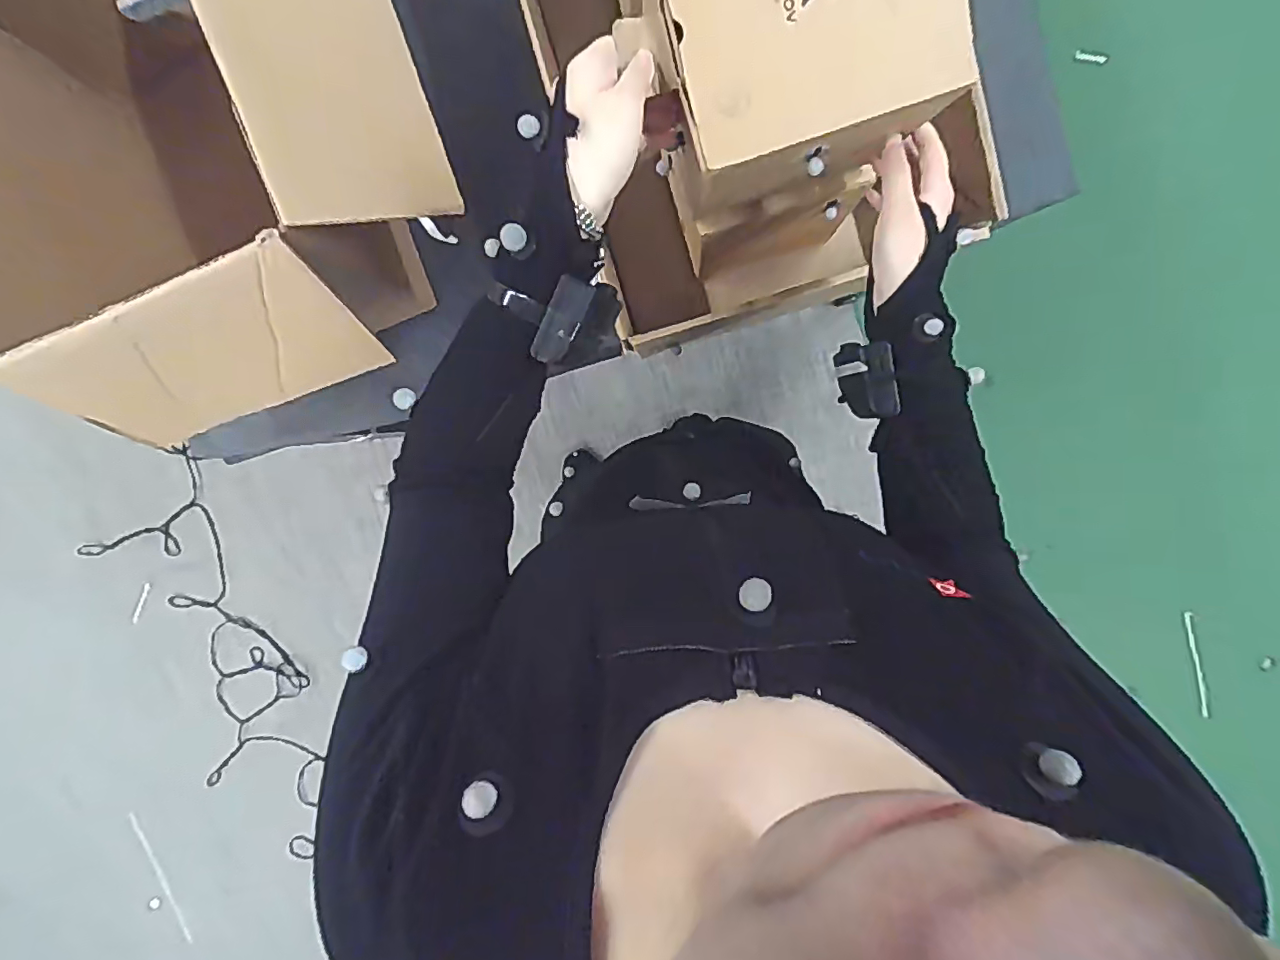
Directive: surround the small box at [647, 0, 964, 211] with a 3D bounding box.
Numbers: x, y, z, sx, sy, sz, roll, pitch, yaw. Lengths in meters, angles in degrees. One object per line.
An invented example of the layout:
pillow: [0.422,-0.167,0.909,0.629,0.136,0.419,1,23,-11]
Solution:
small box: [0.105,-0.324,0.409,0.179,0.176,0.168,-16,106,6]
